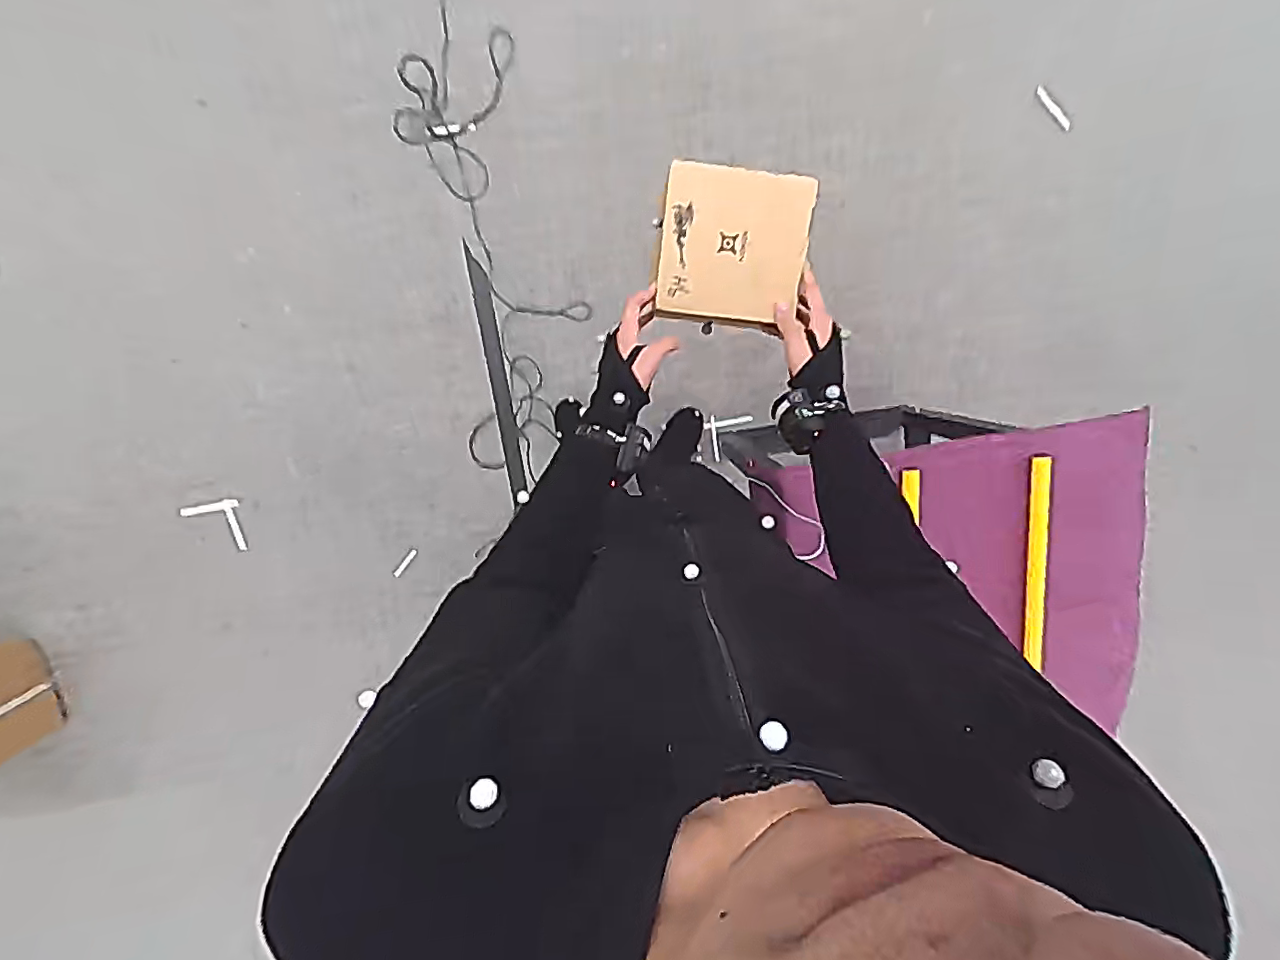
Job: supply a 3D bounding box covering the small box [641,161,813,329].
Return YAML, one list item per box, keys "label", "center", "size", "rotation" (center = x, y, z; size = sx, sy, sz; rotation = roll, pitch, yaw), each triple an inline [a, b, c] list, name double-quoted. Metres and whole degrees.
- label: "small box"
  center: [0.100, -0.293, 0.710]
  size: [0.179, 0.176, 0.168]
  rotation: [5, 104, -4]
